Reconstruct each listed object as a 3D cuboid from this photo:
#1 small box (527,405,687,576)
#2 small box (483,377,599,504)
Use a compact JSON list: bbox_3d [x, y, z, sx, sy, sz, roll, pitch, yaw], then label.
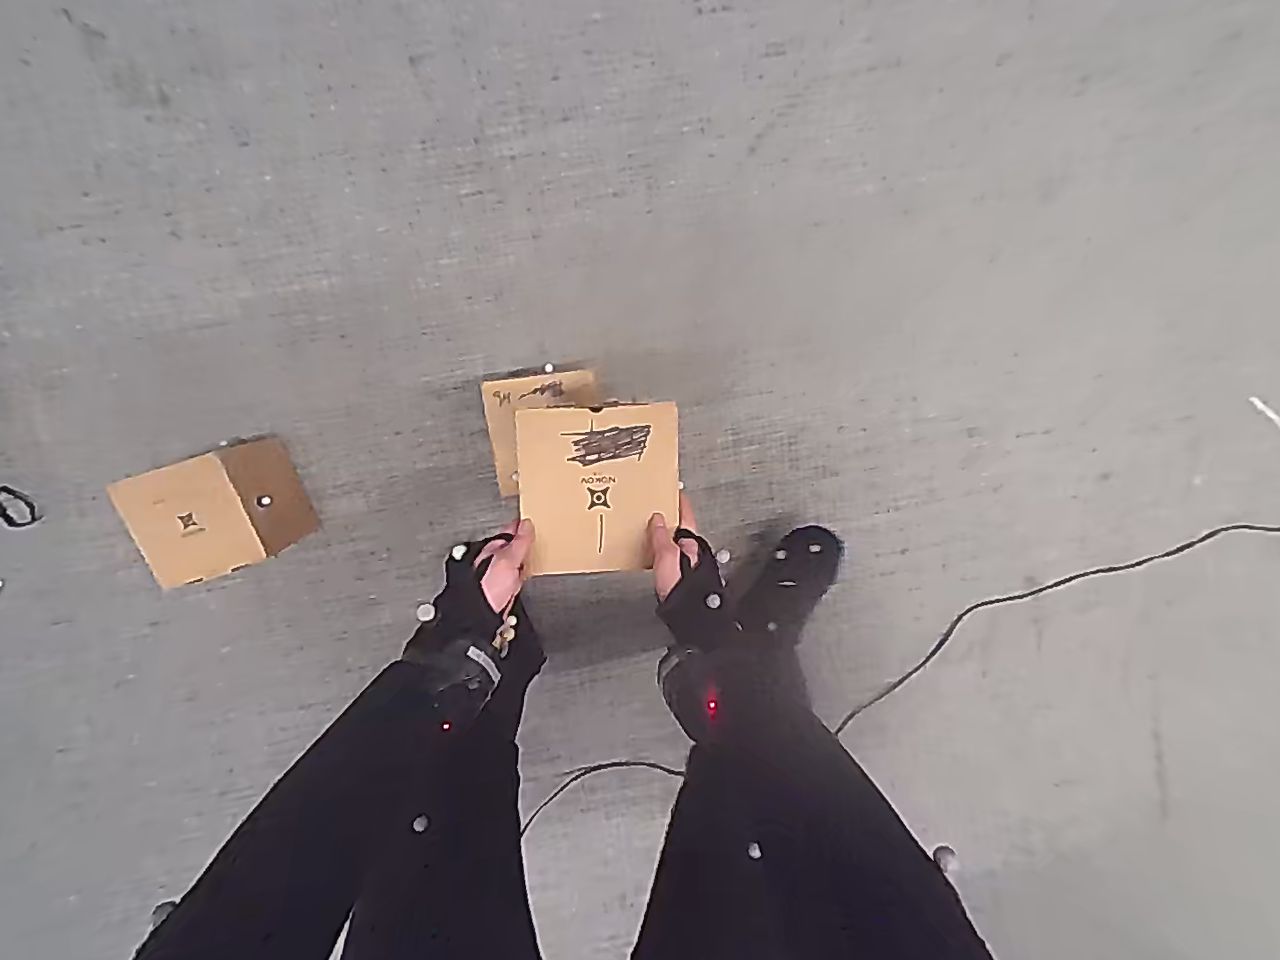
[{"bbox_3d":[-0.040,0.005,0.643,0.168,0.176,0.179,-3,96,-4],"label":"small box"},{"bbox_3d":[-0.146,-0.073,0.893,0.168,0.176,0.179,-7,102,-3],"label":"small box"}]
